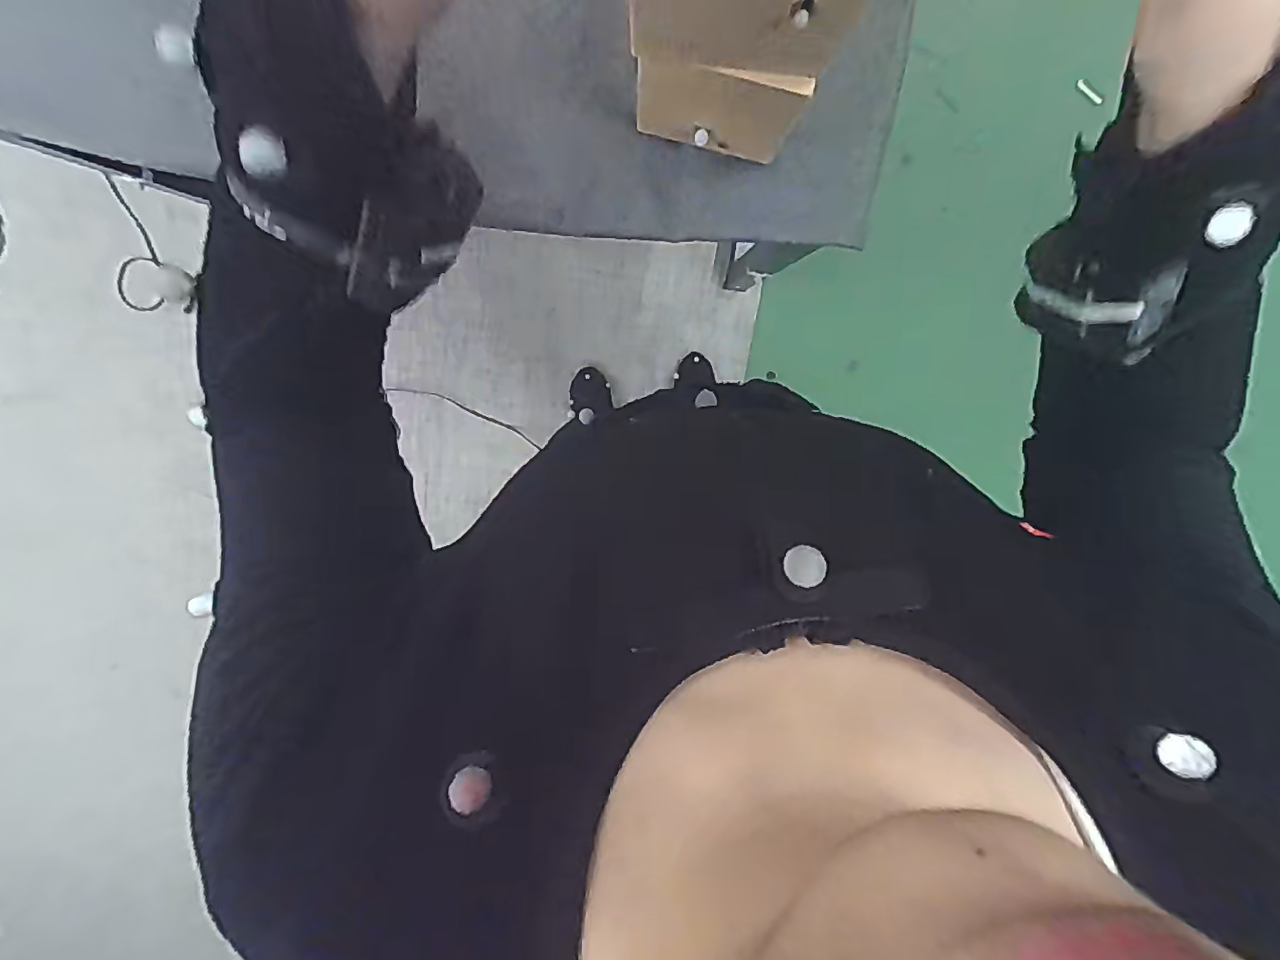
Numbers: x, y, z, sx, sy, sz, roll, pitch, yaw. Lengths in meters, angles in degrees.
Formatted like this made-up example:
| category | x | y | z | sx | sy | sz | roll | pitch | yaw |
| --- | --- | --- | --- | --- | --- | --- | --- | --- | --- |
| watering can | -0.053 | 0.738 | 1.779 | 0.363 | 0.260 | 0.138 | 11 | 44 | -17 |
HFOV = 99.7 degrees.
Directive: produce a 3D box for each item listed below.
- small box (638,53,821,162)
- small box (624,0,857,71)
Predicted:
| category | x | y | z | sx | sy | sz | roll | pitch | yaw |
| --- | --- | --- | --- | --- | --- | --- | --- | --- | --- |
| small box | 0.093 | -0.459 | 0.543 | 0.168 | 0.176 | 0.179 | 13 | 102 | -2 |
| small box | 0.081 | -0.428 | 0.383 | 0.179 | 0.176 | 0.168 | 5 | 100 | 1 |
